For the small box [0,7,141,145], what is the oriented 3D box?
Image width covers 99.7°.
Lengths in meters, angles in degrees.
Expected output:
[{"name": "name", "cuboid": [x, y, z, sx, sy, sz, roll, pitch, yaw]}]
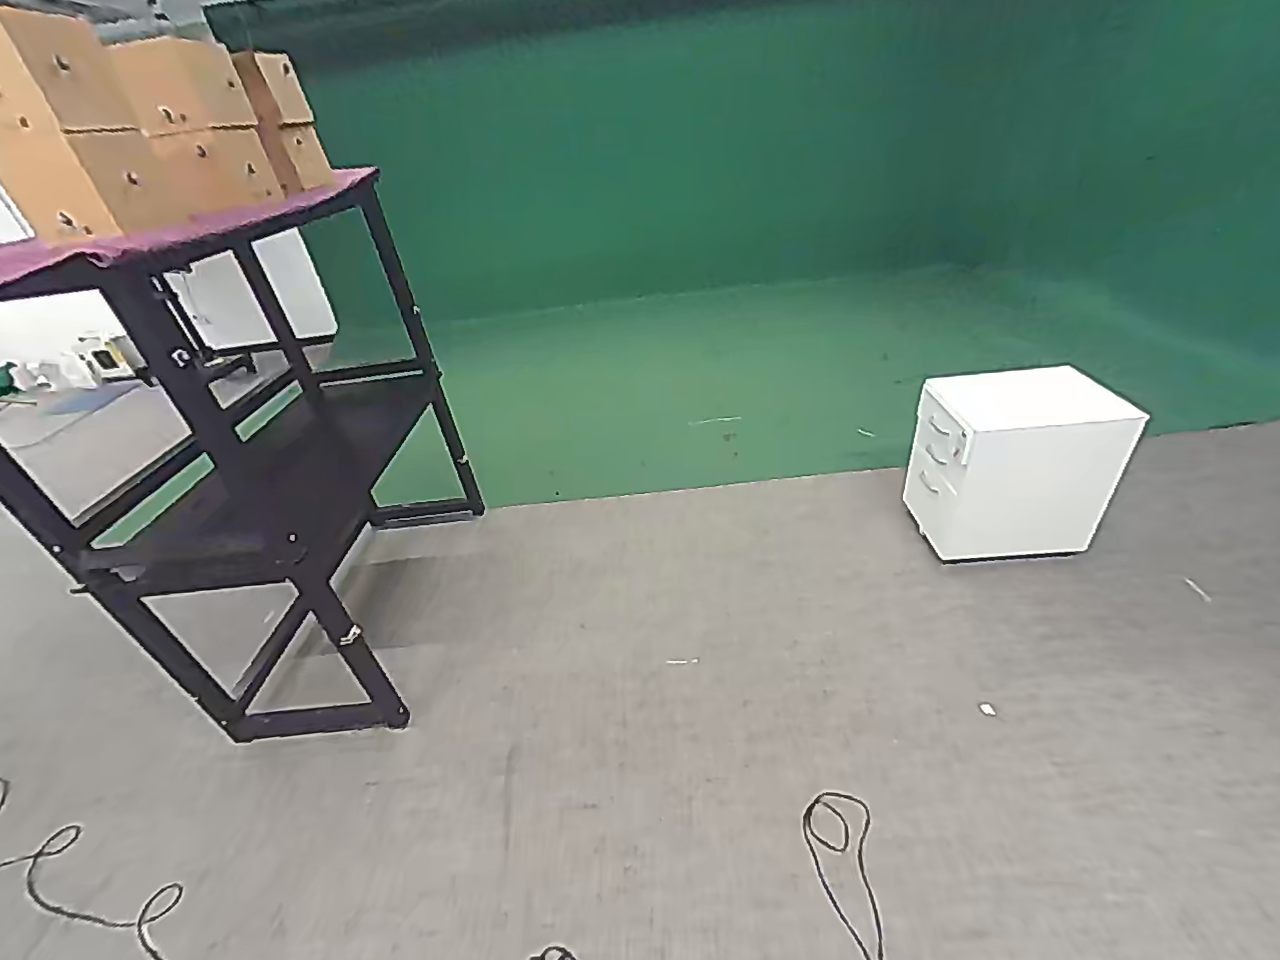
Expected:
[{"name": "small box", "cuboid": [-1.038, -0.686, 0.933, 0.168, 0.176, 0.179, -4, 35, 4]}]

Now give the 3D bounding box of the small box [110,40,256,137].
[{"name": "small box", "cuboid": [-1.056, -0.913, 1.274, 0.168, 0.176, 0.179, -5, 35, 5]}]

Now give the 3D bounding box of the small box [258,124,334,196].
[{"name": "small box", "cuboid": [-1.081, -0.975, 1.657, 0.168, 0.176, 0.179, -4, 35, 9]}]

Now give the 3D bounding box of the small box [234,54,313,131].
[{"name": "small box", "cuboid": [-1.089, -1.107, 1.561, 0.168, 0.176, 0.179, -6, 35, 5]}]

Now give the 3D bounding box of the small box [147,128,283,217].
[{"name": "small box", "cuboid": [-1.049, -0.772, 1.357, 0.179, 0.176, 0.168, -5, 33, 5]}]
